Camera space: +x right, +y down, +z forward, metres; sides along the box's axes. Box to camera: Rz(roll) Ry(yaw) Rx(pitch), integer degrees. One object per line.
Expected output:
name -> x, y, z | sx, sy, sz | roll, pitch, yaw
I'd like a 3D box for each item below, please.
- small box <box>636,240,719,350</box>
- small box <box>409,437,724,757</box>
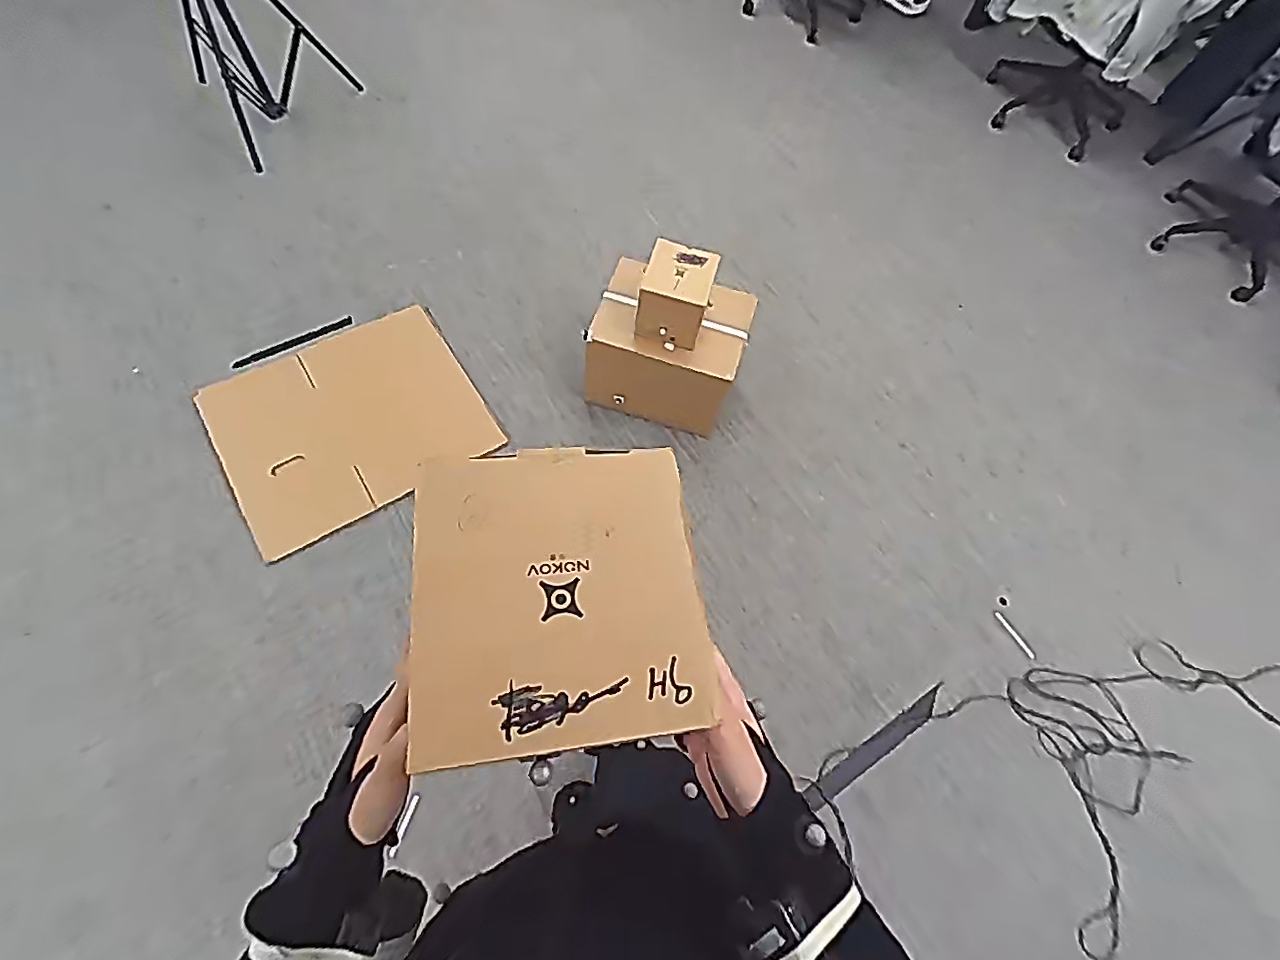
small box -> 0.090, -0.467, 1.379 | 0.168, 0.176, 0.179 | 16, 66, 2
small box -> -0.057, 0.089, 0.386 | 0.168, 0.176, 0.179 | -5, 64, -10
